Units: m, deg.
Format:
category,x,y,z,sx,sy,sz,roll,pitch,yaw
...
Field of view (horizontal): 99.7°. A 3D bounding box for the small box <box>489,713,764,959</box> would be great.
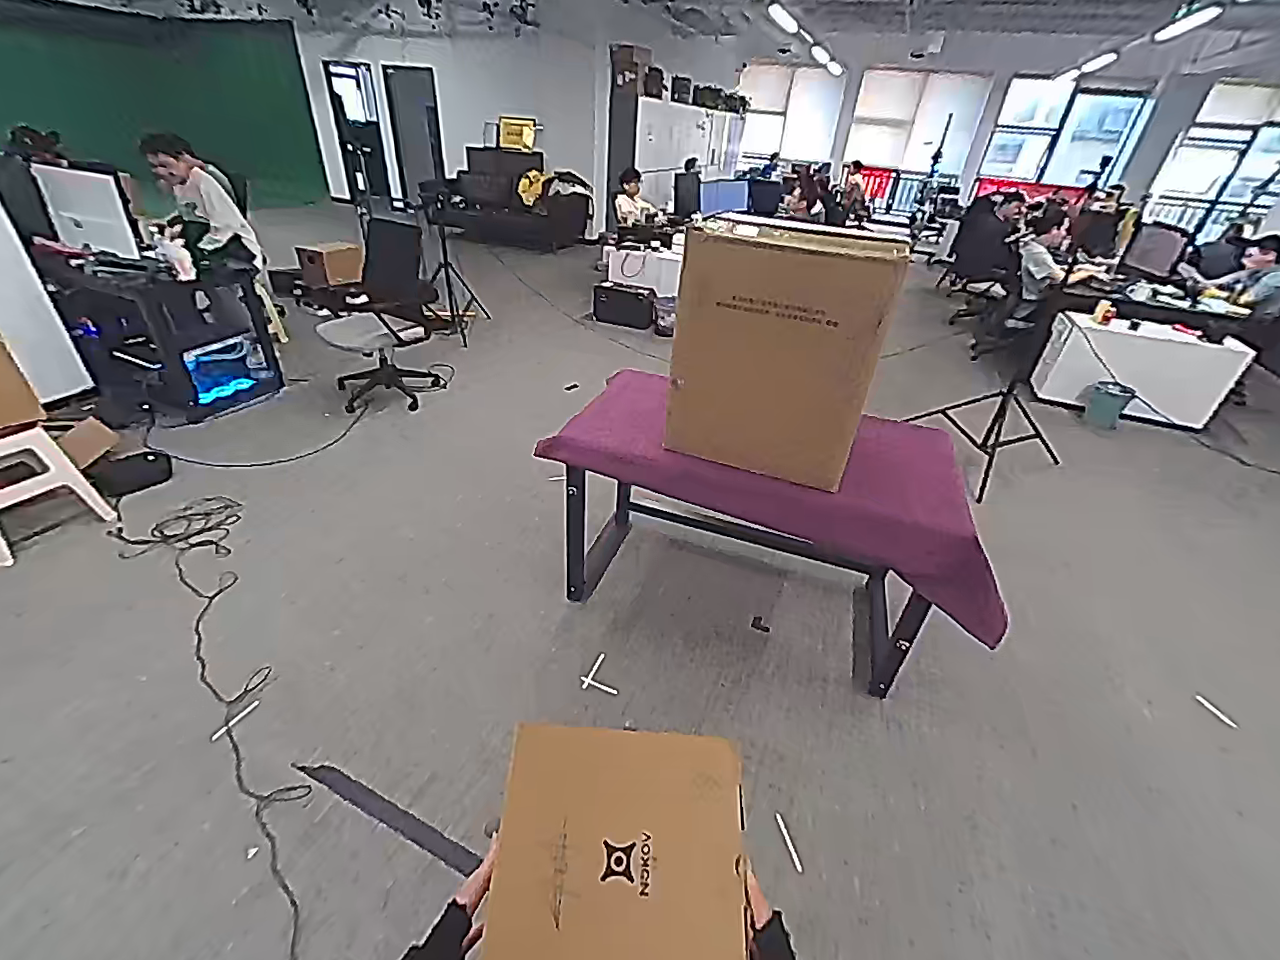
category,x,y,z,sx,sy,sz,roll,pitch,yaw
small box,-0.017,0.293,0.434,0.179,0.176,0.168,7,56,-7
